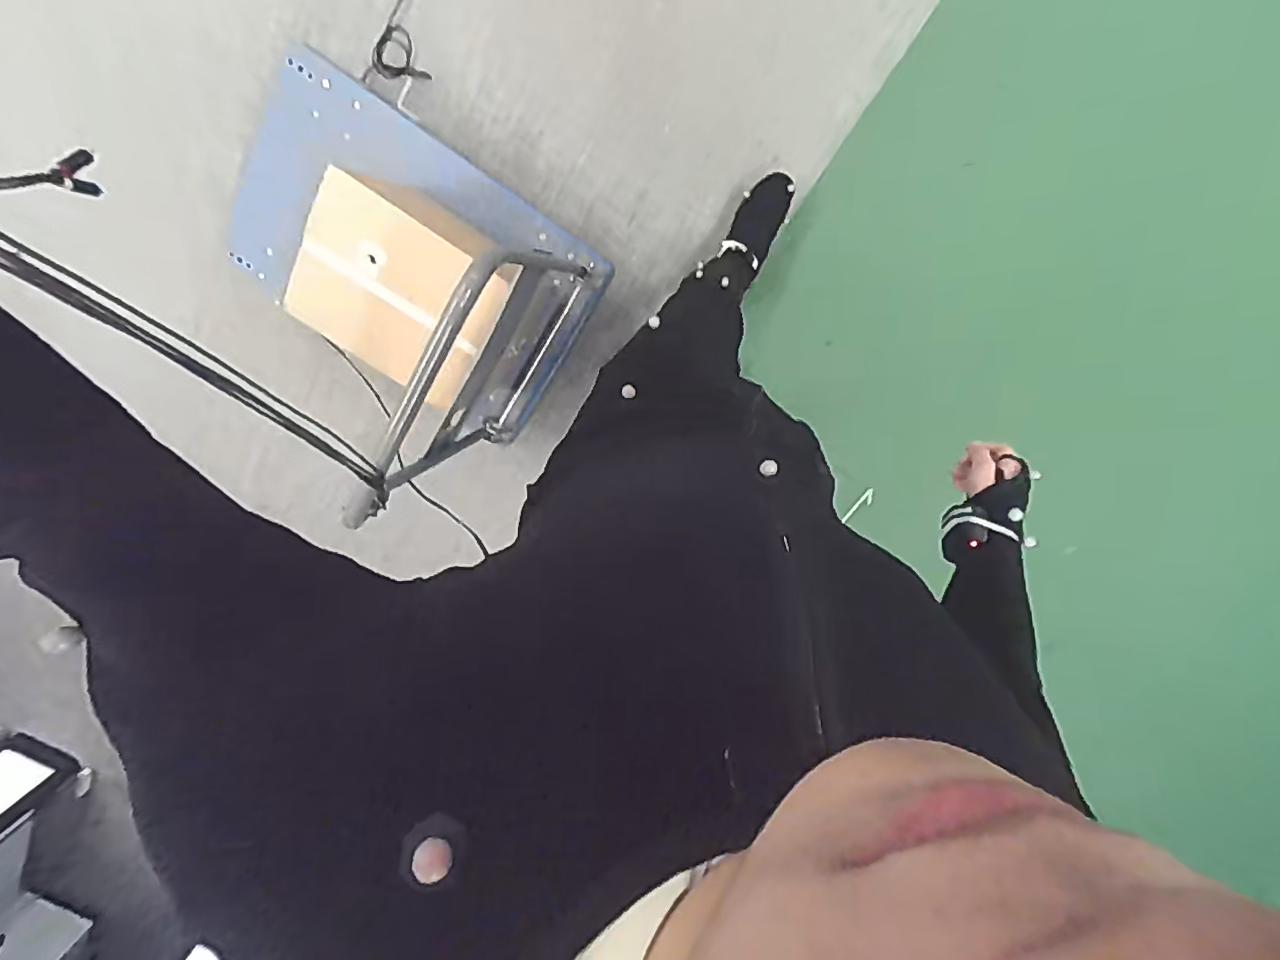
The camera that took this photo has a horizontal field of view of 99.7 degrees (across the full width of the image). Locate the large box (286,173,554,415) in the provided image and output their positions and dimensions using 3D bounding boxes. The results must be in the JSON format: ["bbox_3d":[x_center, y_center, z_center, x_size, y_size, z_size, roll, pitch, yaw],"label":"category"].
[{"bbox_3d":[-0.468,-0.407,1.218,0.408,0.320,0.320,33,111,-5],"label":"large box"}]
